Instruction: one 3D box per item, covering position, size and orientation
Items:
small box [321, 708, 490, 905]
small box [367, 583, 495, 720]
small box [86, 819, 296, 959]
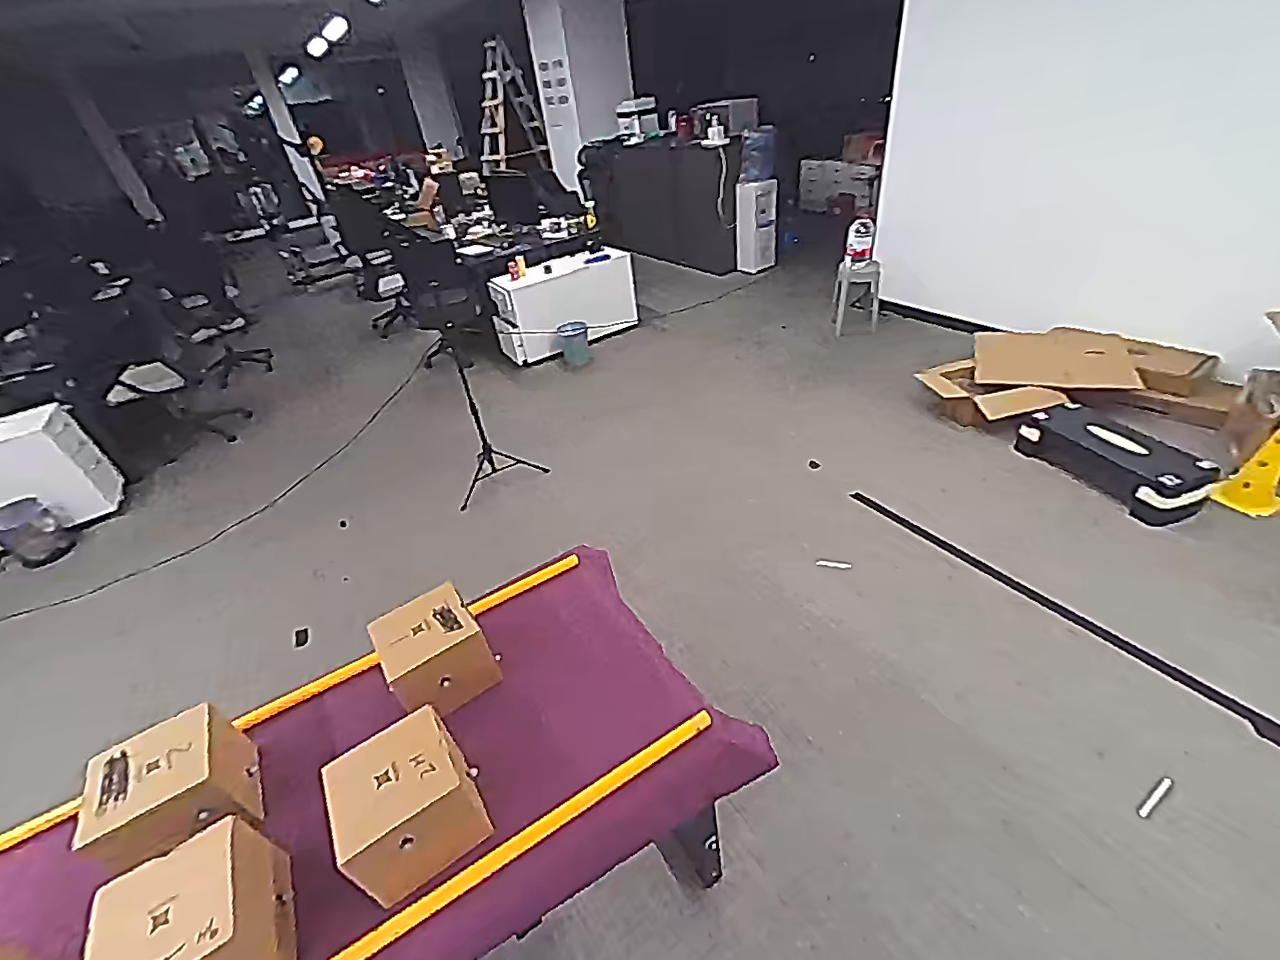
[{"bbox_3d":[-0.362,0.509,0.846,0.179,0.176,0.168,-27,39,-23],"label":"small box"},{"bbox_3d":[-0.405,0.347,1.073,0.179,0.176,0.168,-29,42,-23],"label":"small box"},{"bbox_3d":[-0.603,0.626,0.742,0.168,0.176,0.179,-27,39,-21],"label":"small box"}]
